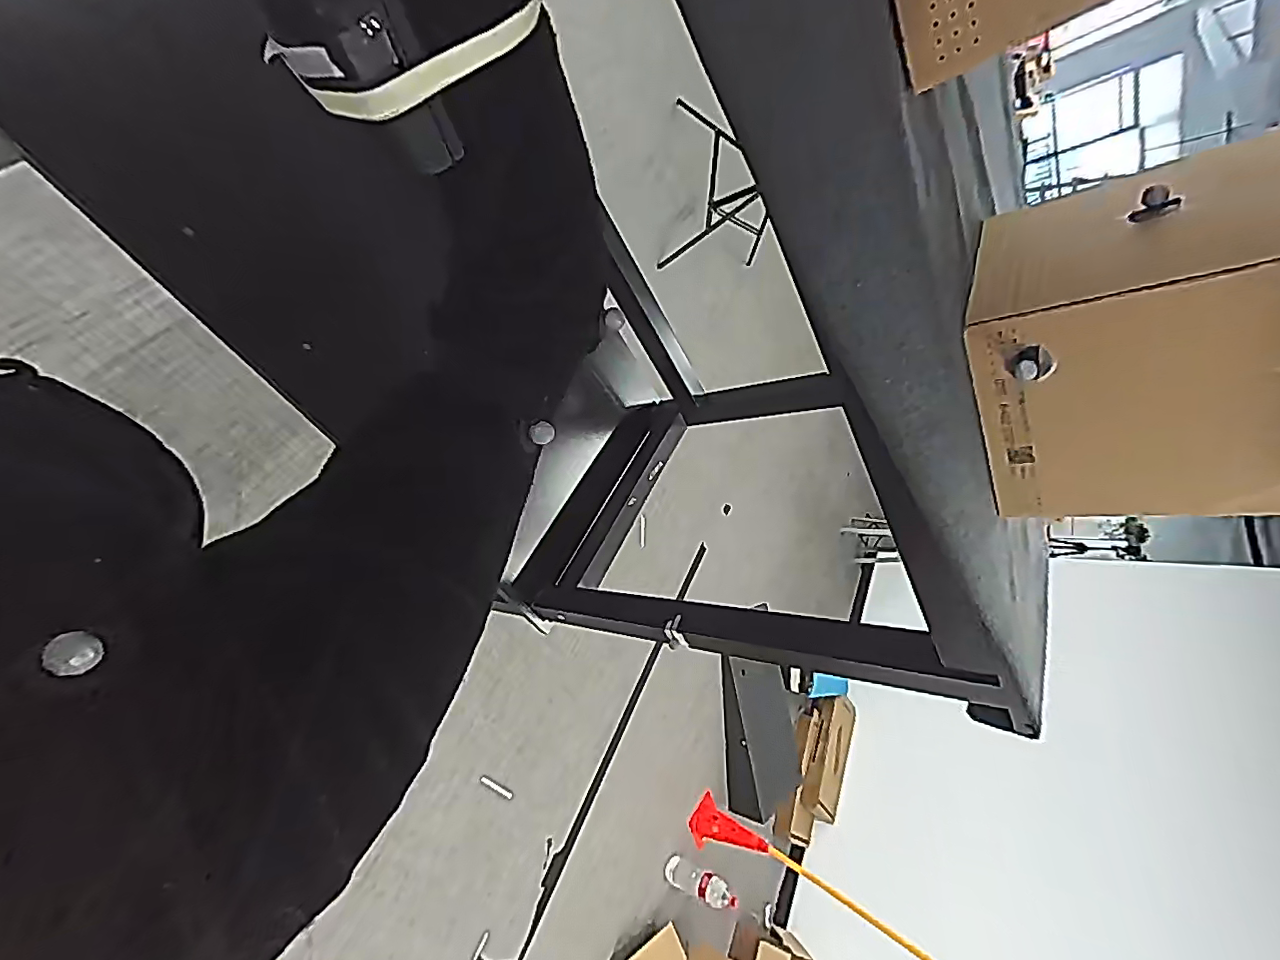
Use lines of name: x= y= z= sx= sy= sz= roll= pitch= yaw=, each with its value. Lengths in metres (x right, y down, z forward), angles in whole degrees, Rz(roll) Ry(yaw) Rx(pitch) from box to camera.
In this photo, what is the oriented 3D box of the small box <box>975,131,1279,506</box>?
small box: x=0.338 y=-0.095 z=0.368 sx=0.168 sy=0.176 sz=0.179 roll=58 pitch=46 yaw=-29
